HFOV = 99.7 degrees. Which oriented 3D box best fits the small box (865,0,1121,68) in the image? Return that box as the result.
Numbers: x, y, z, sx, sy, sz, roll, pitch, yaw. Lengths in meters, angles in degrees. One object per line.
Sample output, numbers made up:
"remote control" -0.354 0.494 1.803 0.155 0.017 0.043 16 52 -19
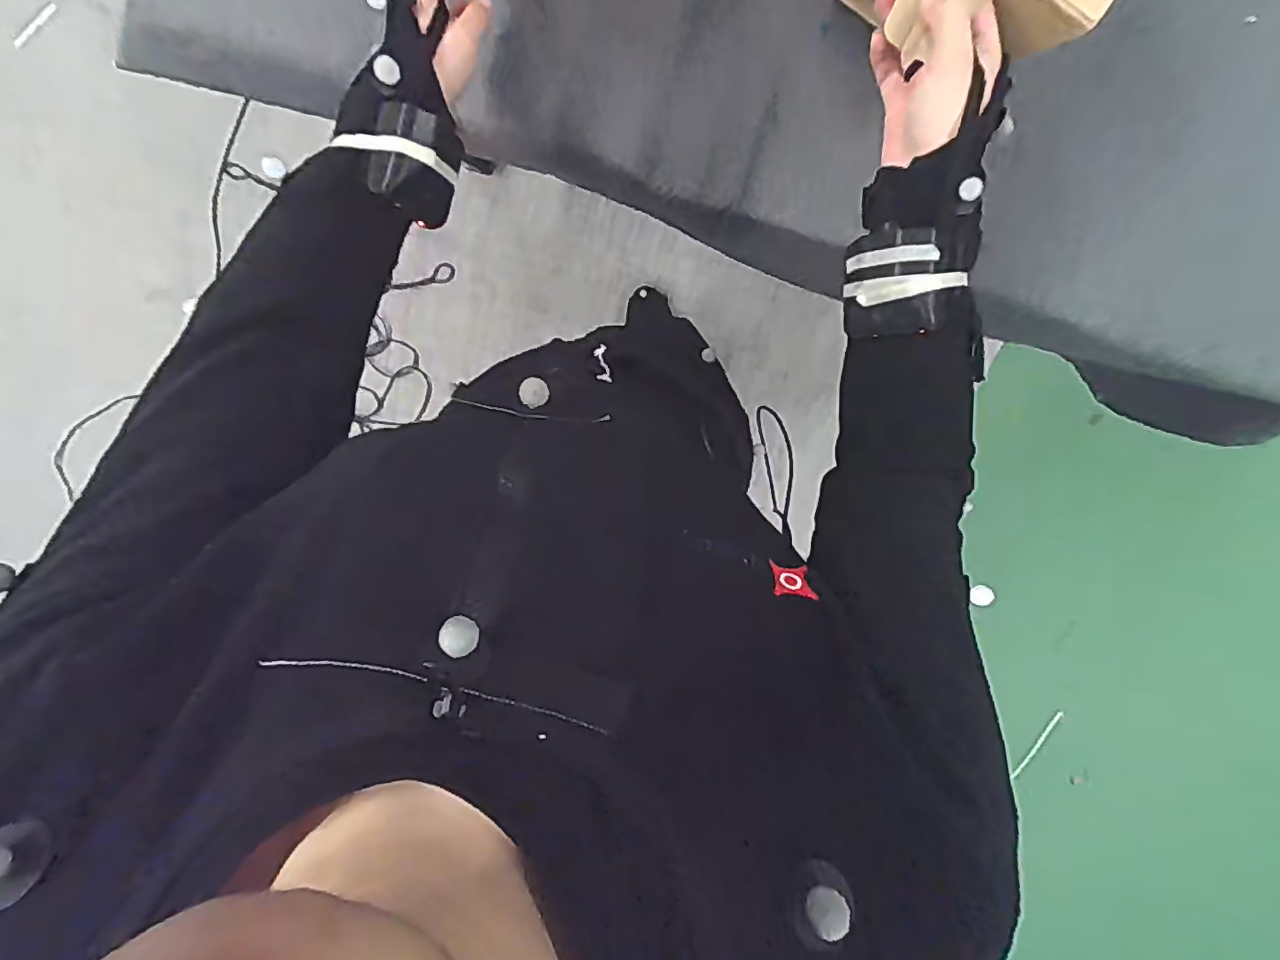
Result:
"small box" 0.229 -0.392 0.314 0.168 0.176 0.179 27 115 -11
